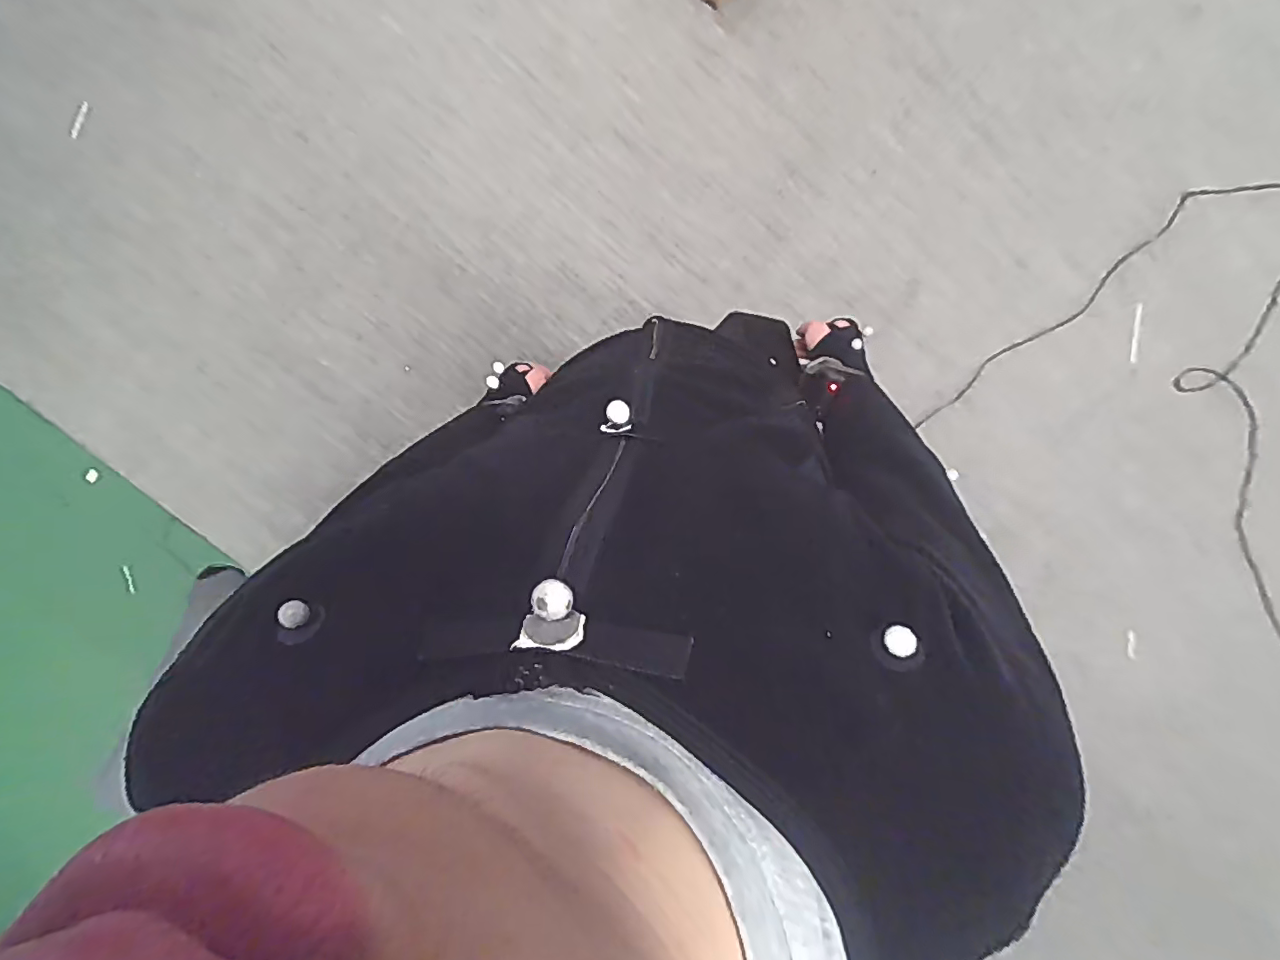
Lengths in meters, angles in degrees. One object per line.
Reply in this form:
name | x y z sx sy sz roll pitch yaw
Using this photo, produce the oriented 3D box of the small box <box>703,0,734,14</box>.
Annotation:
small box | 0.176 -1.162 1.147 0.168 0.176 0.179 -37 101 16
